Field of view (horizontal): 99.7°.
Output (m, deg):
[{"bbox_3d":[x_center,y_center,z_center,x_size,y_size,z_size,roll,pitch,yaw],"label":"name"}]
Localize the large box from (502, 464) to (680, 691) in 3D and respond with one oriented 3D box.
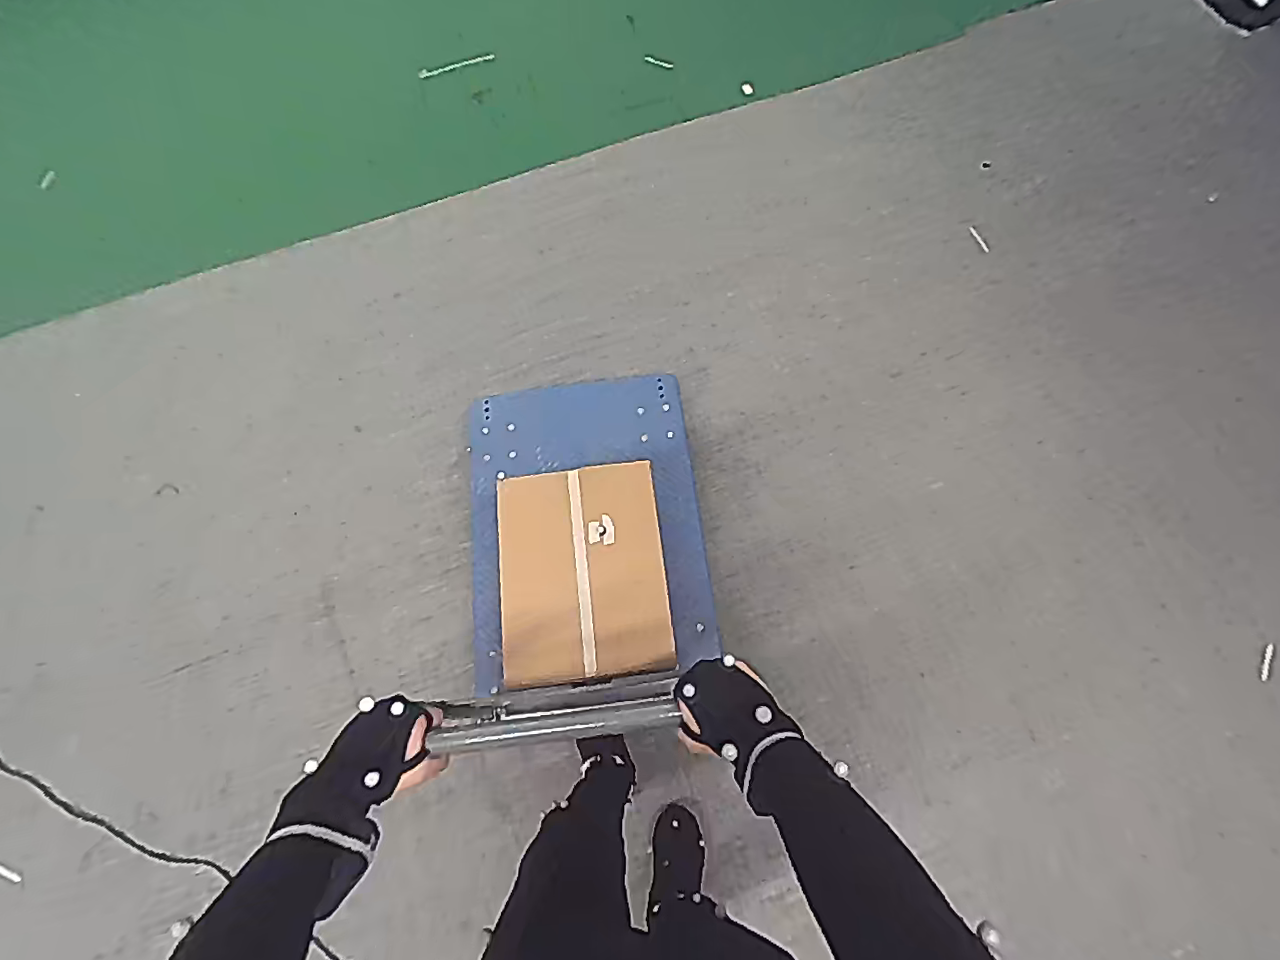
[{"bbox_3d":[-0.099,0.222,1.171,0.320,0.320,0.408,-7,70,-1],"label":"large box"}]
